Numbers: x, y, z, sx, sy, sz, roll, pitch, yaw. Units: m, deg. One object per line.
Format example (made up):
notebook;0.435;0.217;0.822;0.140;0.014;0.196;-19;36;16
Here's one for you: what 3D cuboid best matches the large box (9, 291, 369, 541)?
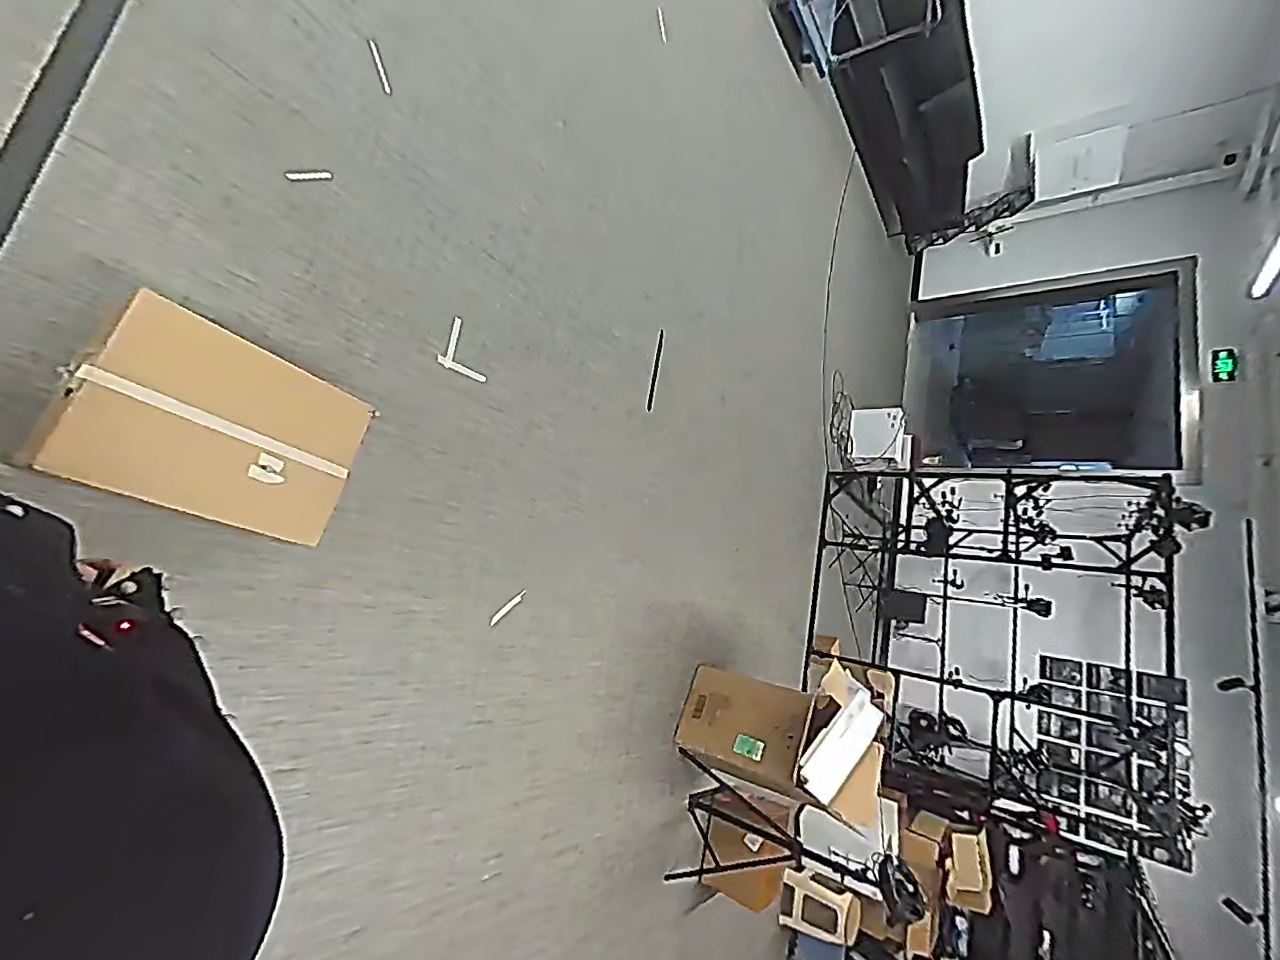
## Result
large box;-0.833;-0.093;1.037;0.408;0.320;0.320;35;64;-50
